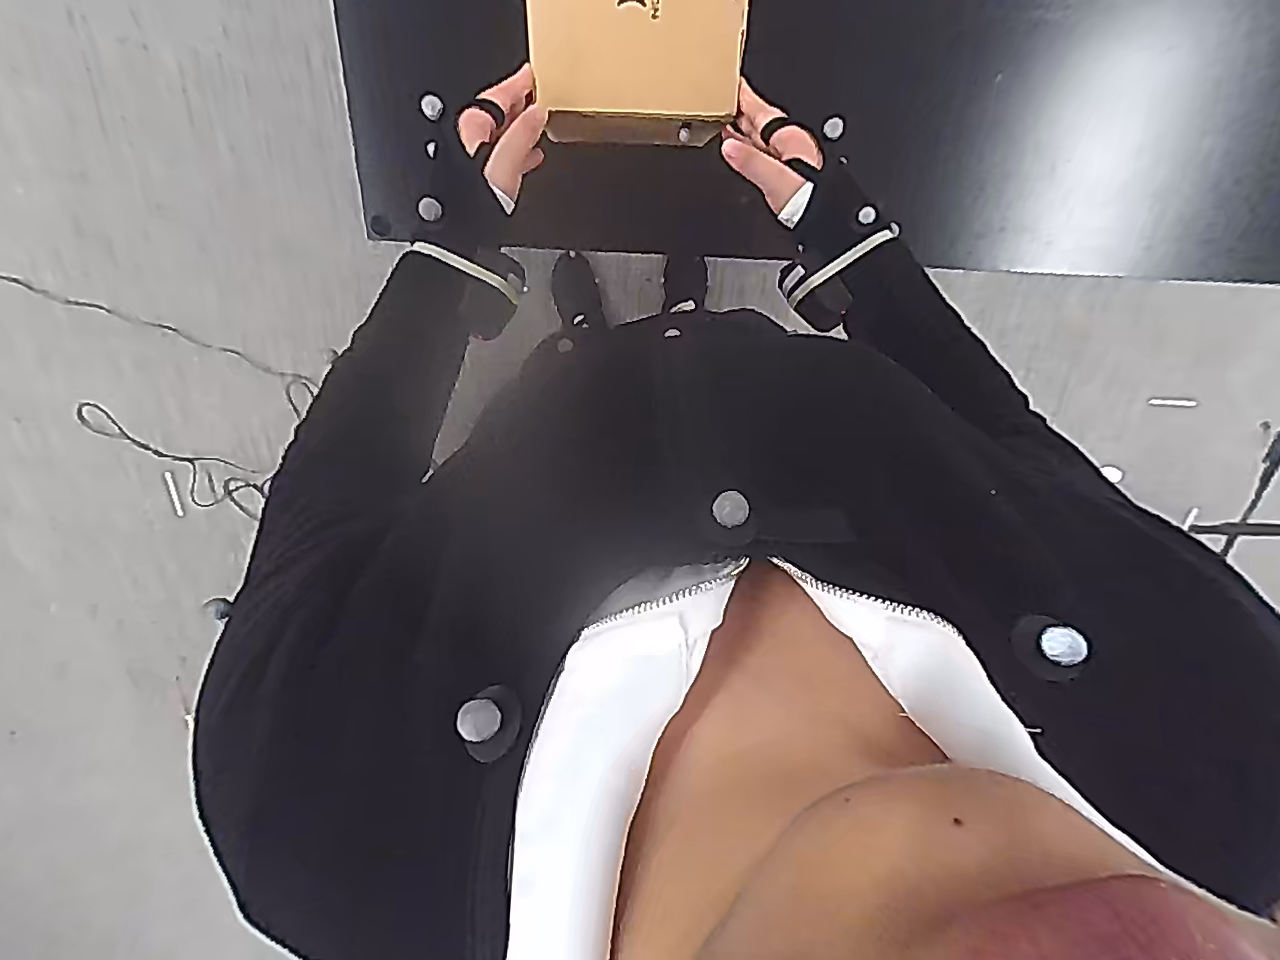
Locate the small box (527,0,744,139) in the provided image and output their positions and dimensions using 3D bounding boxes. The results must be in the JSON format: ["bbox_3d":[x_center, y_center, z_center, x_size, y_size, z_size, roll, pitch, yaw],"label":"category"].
[{"bbox_3d":[-0.008,-0.423,0.498,0.179,0.176,0.168,-1,115,-5],"label":"small box"}]
